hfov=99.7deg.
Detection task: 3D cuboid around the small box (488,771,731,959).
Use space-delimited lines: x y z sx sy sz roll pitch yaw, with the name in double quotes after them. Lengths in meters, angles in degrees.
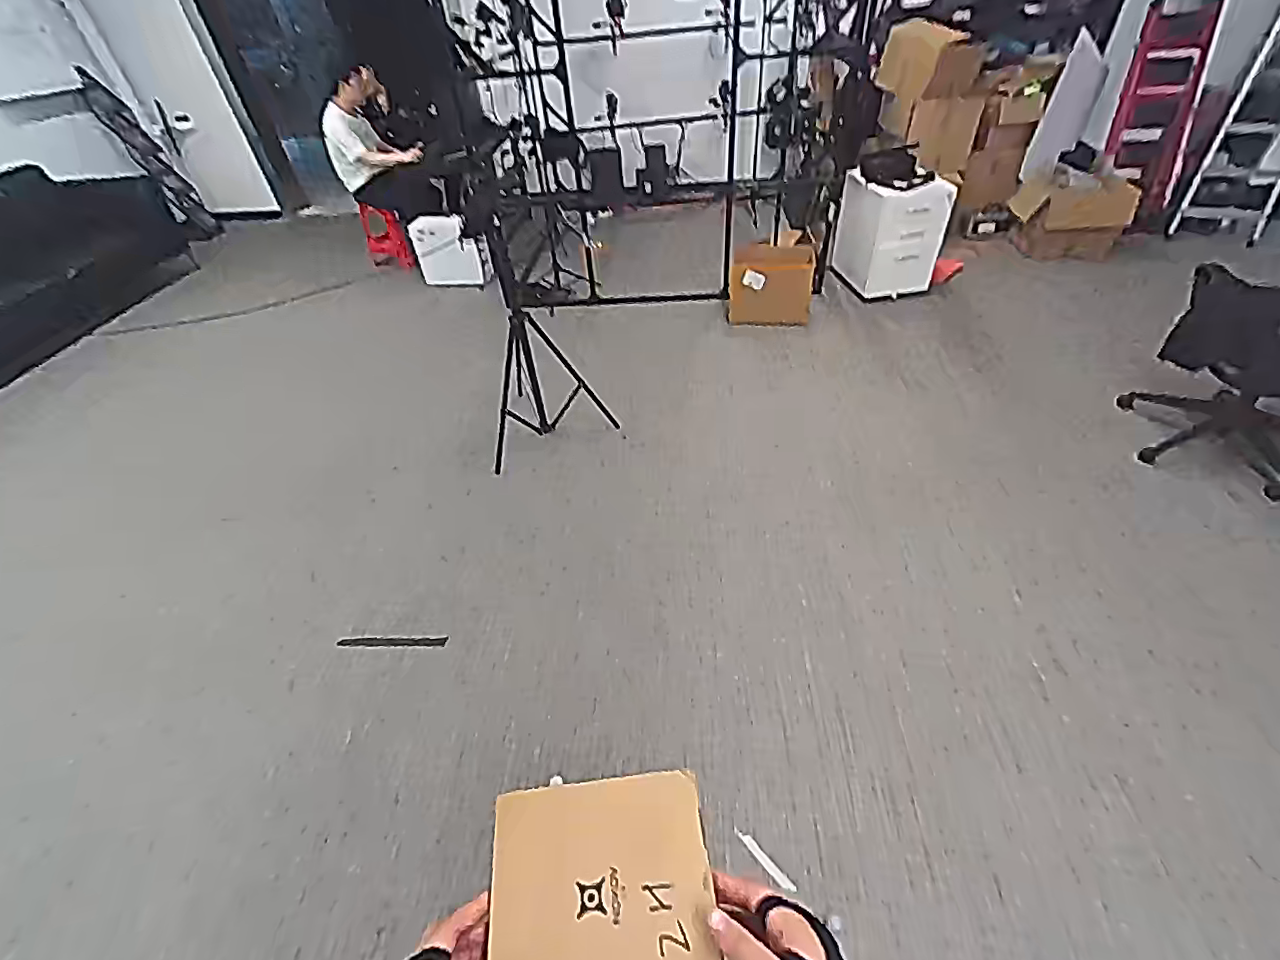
-0.023 0.370 0.469 0.179 0.176 0.168 -5 50 -3 "small box"
